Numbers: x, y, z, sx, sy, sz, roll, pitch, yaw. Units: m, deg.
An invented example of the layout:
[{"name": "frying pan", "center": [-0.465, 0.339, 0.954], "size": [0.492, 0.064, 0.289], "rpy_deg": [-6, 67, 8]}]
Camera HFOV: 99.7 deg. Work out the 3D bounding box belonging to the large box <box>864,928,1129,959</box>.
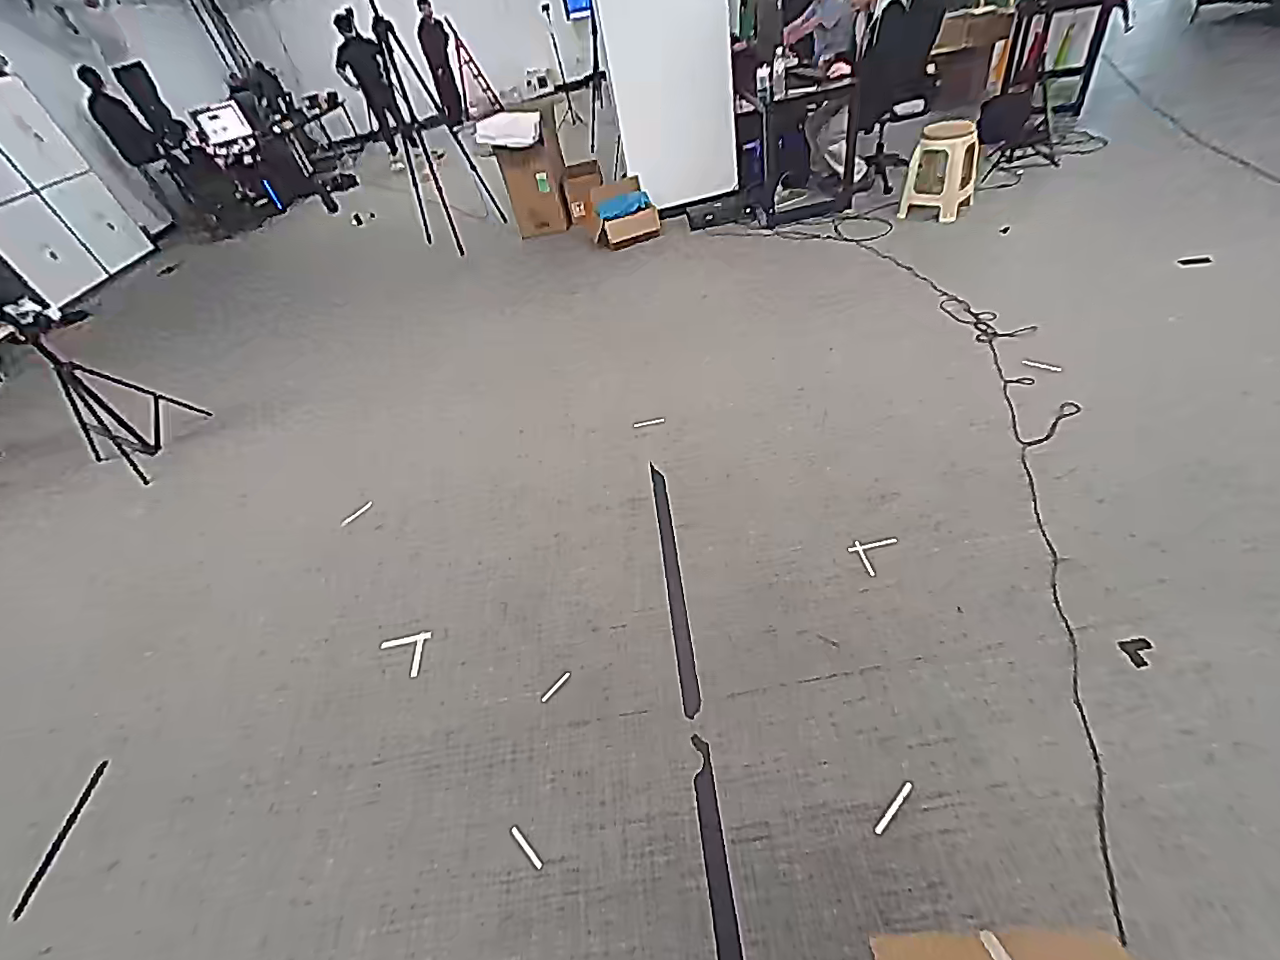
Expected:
[{"name": "large box", "center": [0.451, 0.746, 0.527], "size": [0.320, 0.408, 0.320], "rpy_deg": [-9, 84, 8]}]
